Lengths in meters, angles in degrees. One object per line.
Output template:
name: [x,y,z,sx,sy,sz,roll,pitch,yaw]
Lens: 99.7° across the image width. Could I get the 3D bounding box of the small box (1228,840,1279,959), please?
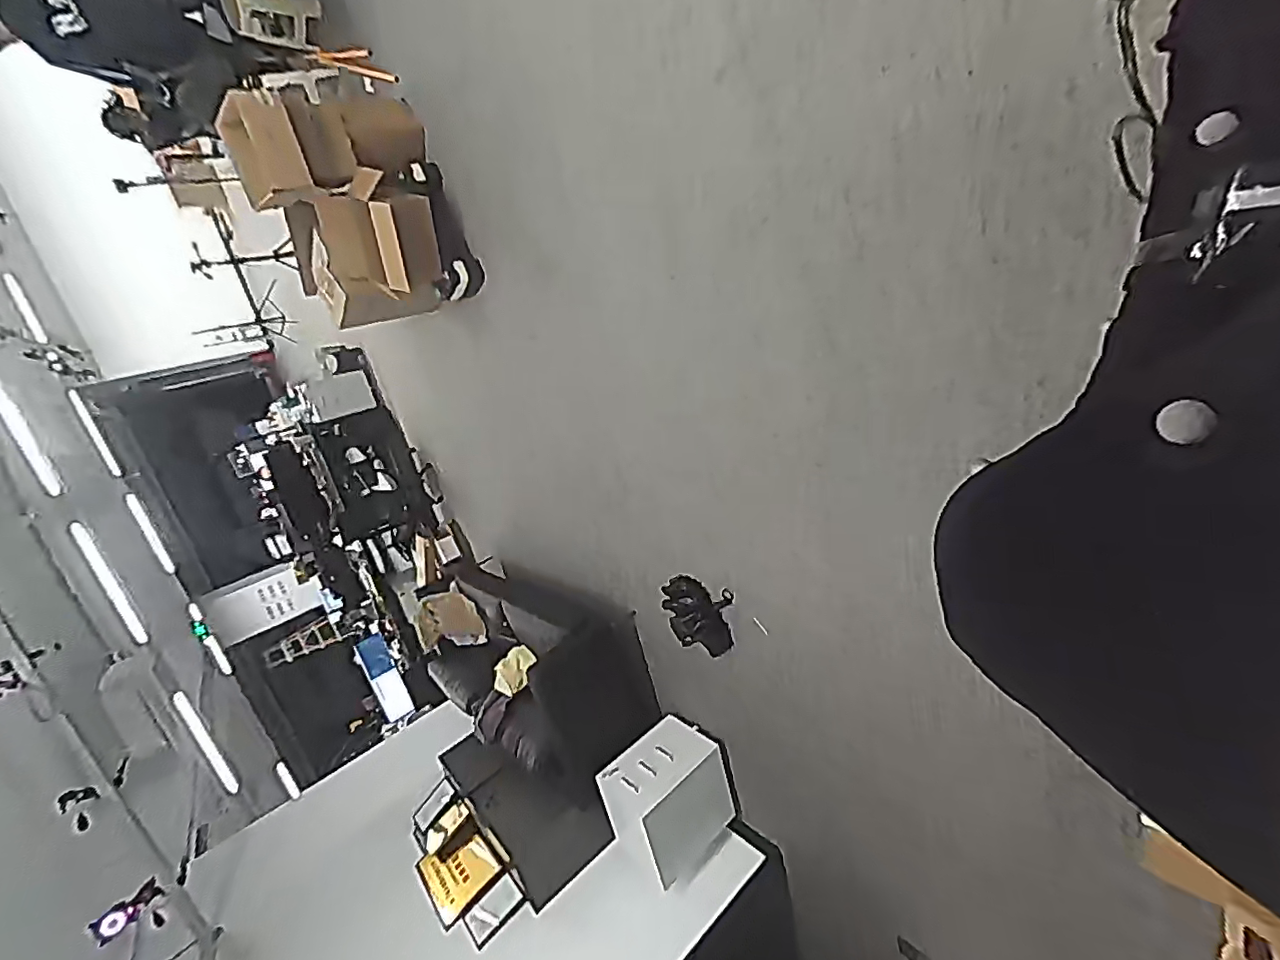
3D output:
small box: [1.123,0.748,0.898,0.179,0.176,0.168,4,109,54]
